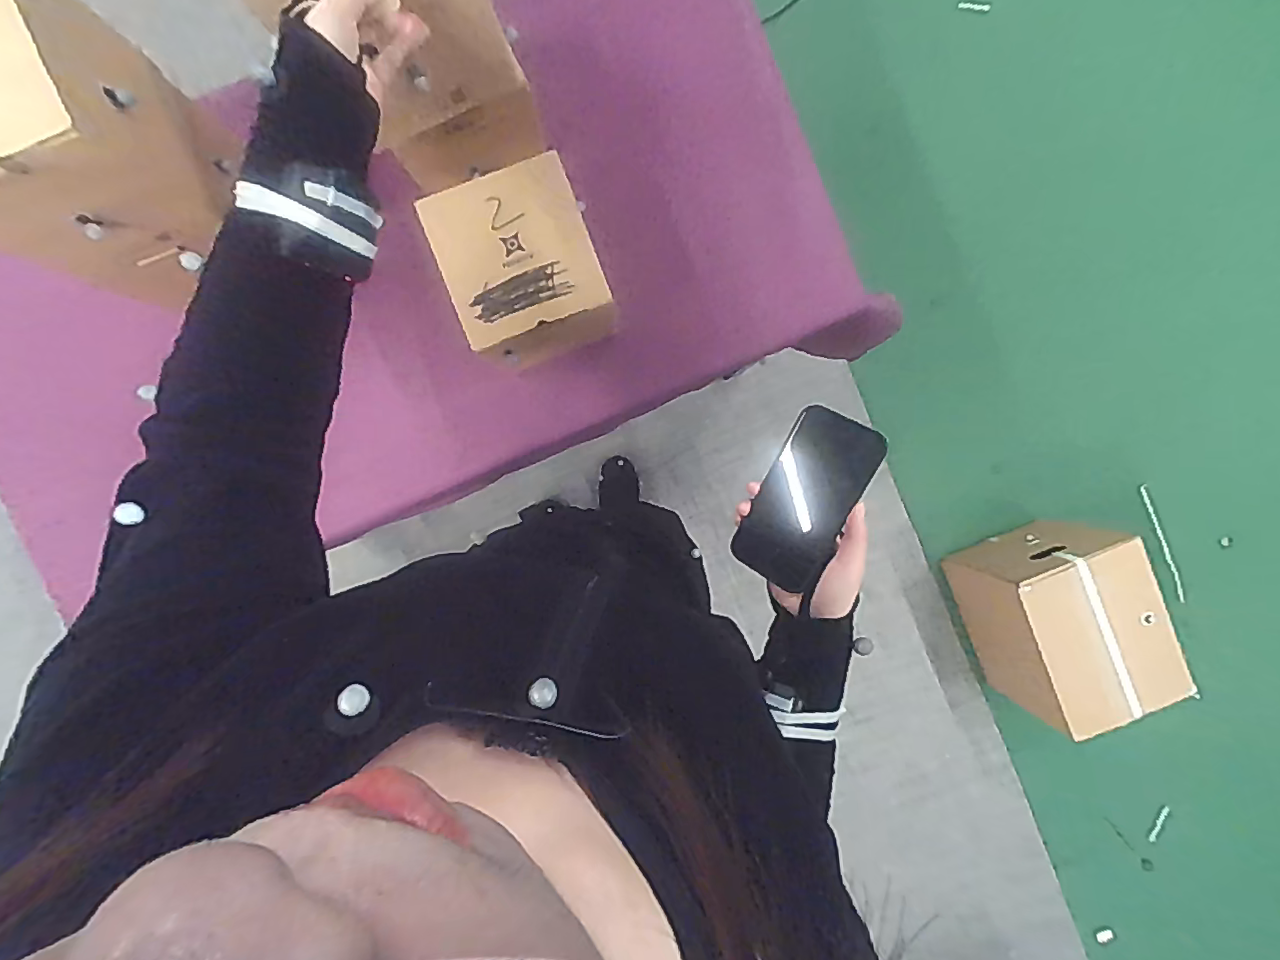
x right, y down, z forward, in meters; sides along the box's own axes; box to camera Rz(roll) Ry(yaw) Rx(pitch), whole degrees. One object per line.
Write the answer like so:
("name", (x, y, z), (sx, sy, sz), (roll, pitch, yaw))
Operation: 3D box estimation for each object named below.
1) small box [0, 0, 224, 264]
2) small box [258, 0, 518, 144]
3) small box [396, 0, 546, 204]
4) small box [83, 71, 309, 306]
("small box", (-0.533, -0.317, 0.486), (0.168, 0.176, 0.179), (-23, 95, -1))
("small box", (-0.229, -0.447, 0.468), (0.168, 0.176, 0.179), (-23, 84, 3))
("small box", (-0.229, -0.476, 0.650), (0.168, 0.176, 0.179), (-25, 95, 0))
("small box", (-0.546, -0.327, 0.651), (0.168, 0.176, 0.179), (-23, 94, -1))
